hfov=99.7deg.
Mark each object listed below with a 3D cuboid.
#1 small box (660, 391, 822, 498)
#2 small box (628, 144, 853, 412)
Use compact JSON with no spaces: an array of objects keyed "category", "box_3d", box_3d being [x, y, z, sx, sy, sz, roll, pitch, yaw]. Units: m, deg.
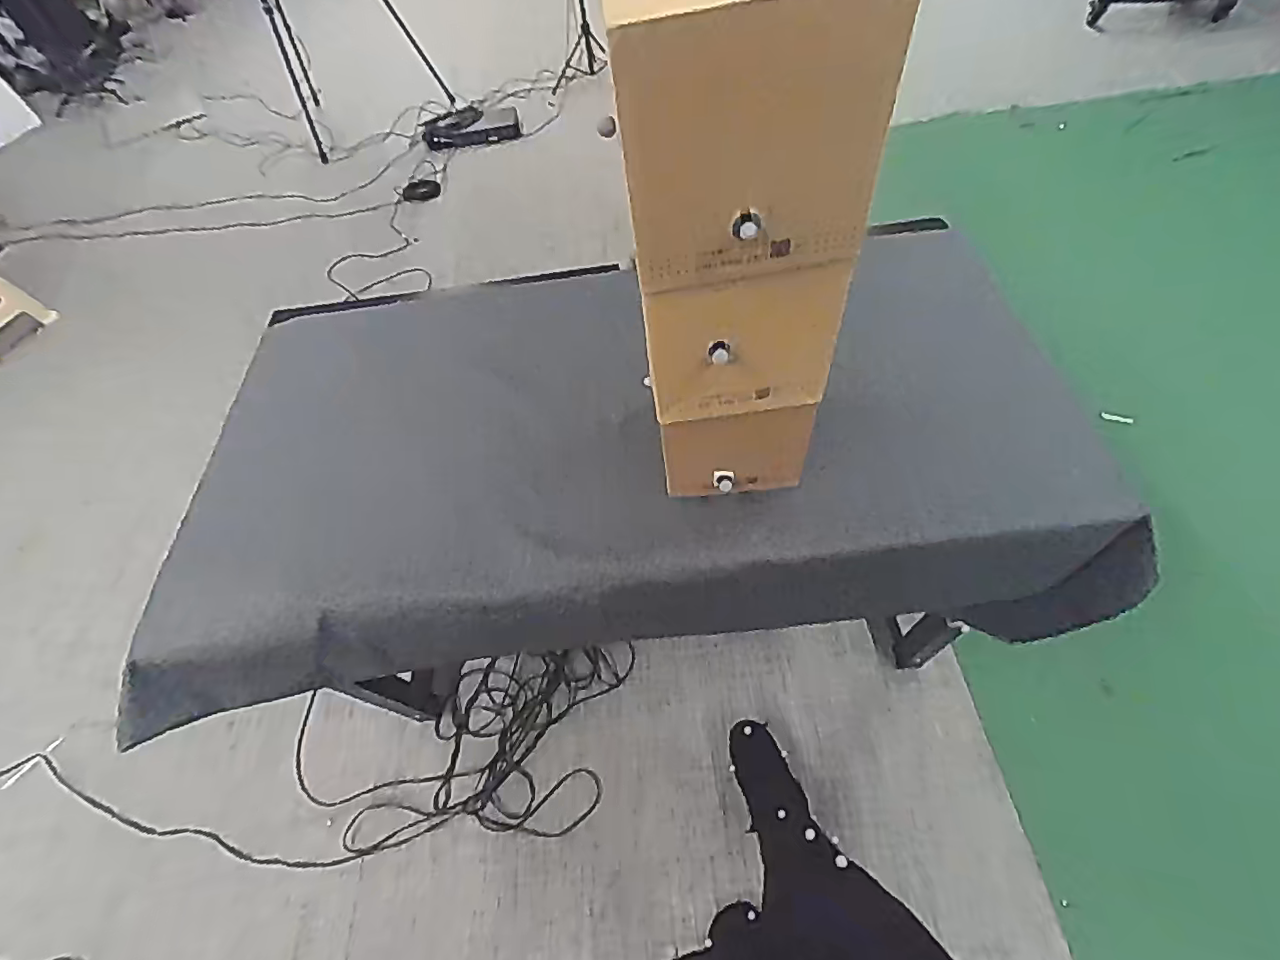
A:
[{"category":"small box","box_3d":[0.107,-0.100,0.658,0.168,0.176,0.179,-7,57,4]},{"category":"small box","box_3d":[0.086,-0.181,0.519,0.168,0.176,0.179,-8,55,3]}]
